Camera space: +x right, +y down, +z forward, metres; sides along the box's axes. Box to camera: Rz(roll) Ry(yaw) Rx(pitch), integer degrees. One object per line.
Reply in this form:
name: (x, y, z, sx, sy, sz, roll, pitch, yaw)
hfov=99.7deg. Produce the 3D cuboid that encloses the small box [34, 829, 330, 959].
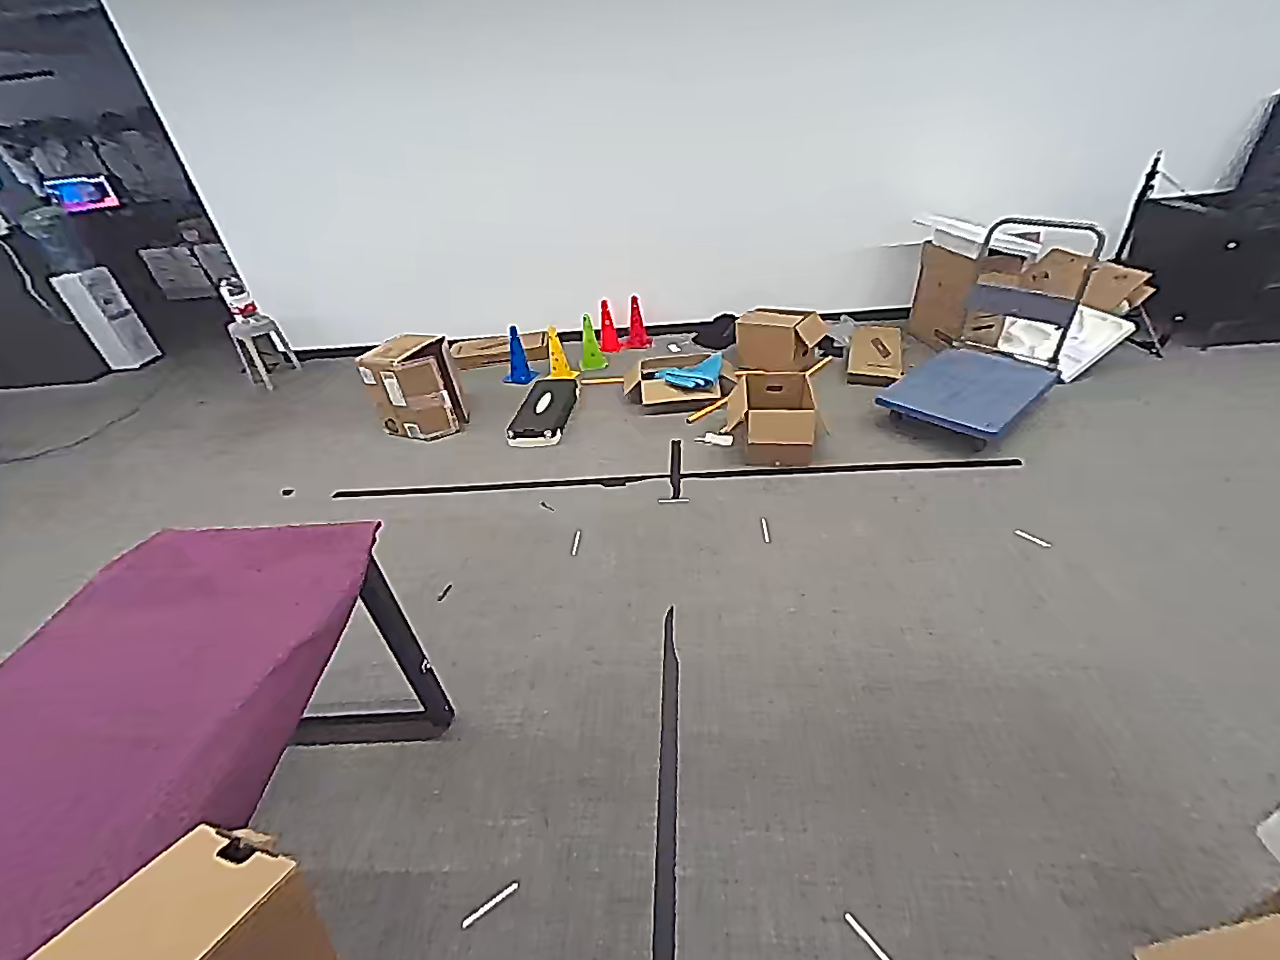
small box: (-0.415, 0.474, 0.493, 0.168, 0.176, 0.179, -2, 16, 25)
